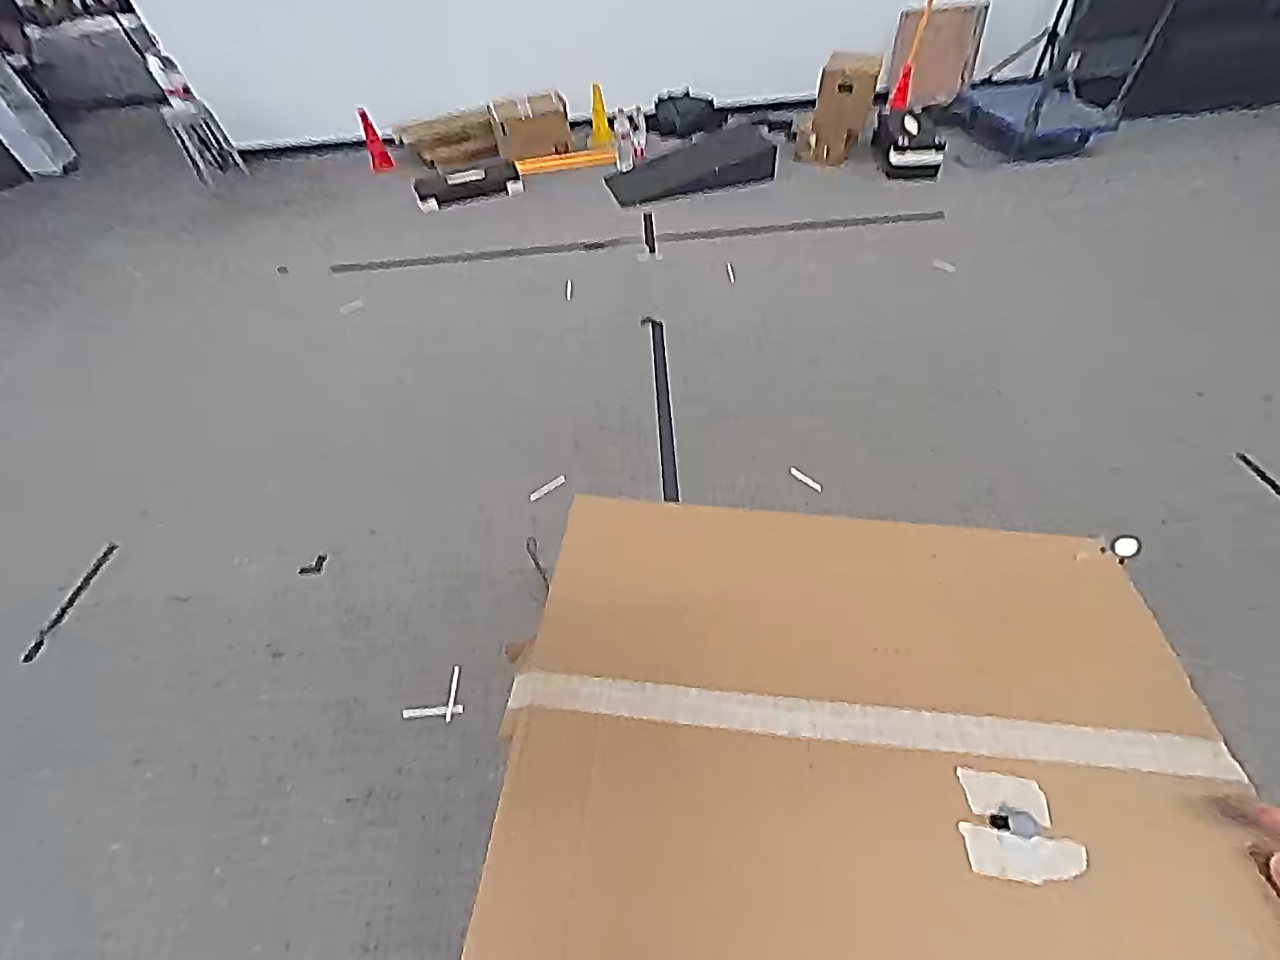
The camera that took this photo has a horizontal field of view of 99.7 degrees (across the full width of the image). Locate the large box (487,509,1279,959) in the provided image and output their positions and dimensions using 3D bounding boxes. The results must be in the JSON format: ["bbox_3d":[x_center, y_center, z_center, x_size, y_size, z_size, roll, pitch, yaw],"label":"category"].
[{"bbox_3d":[0.132,0.250,0.437,0.408,0.320,0.320,5,49,3],"label":"large box"}]
